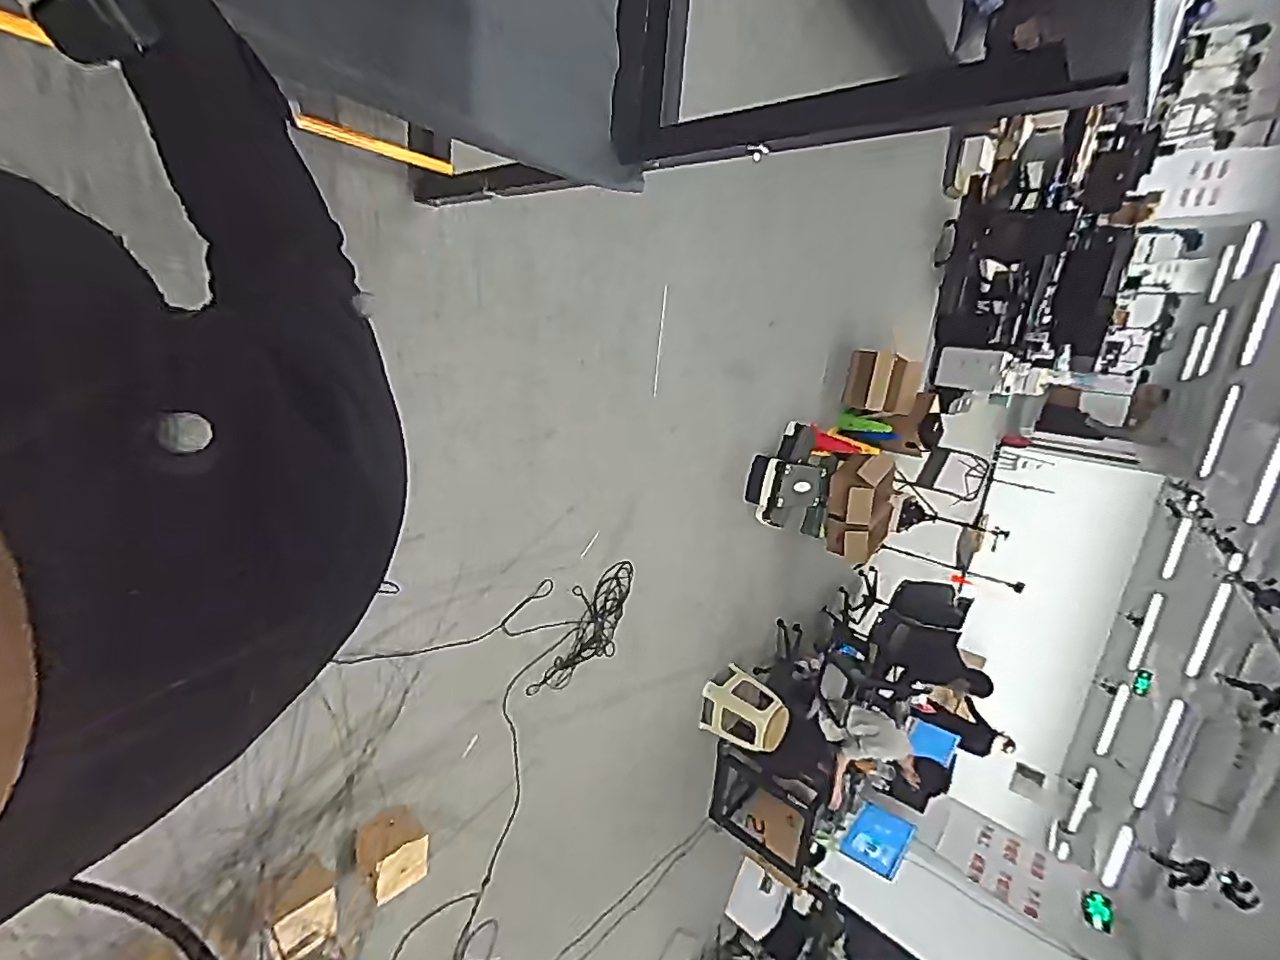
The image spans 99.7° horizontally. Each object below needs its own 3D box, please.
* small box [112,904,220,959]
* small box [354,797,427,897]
[{"bbox_3d":[-1.189,1.218,1.346,0.179,0.176,0.168,12,94,-51],"label":"small box"},{"bbox_3d":[-0.827,1.204,1.787,0.168,0.176,0.179,-10,111,-49],"label":"small box"}]
